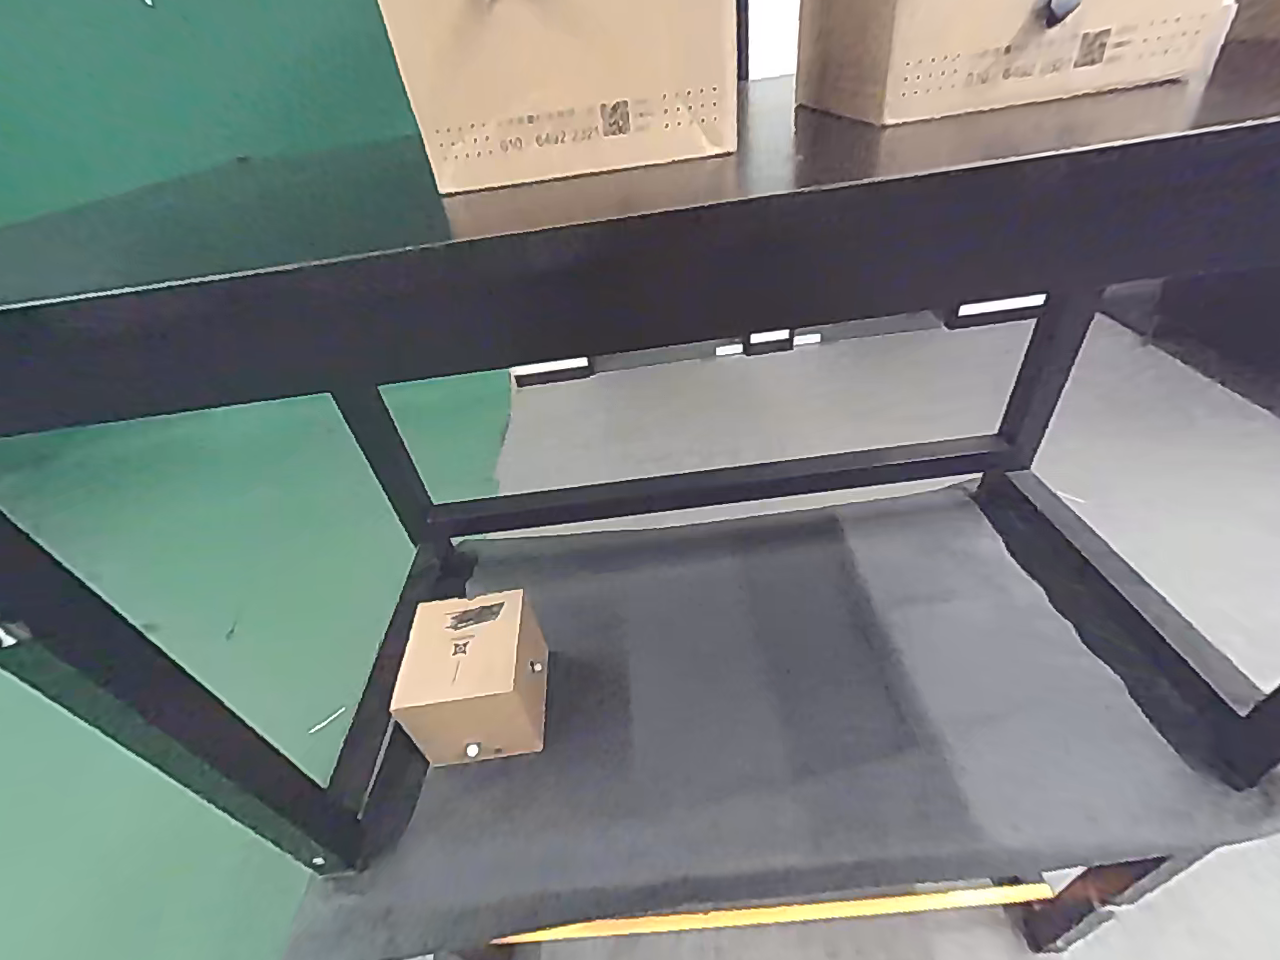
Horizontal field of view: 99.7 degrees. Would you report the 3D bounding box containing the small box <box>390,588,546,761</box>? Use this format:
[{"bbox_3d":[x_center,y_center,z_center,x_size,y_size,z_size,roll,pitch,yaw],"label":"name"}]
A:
[{"bbox_3d":[-0.242,0.291,0.814,0.168,0.176,0.179,-9,38,1],"label":"small box"}]
